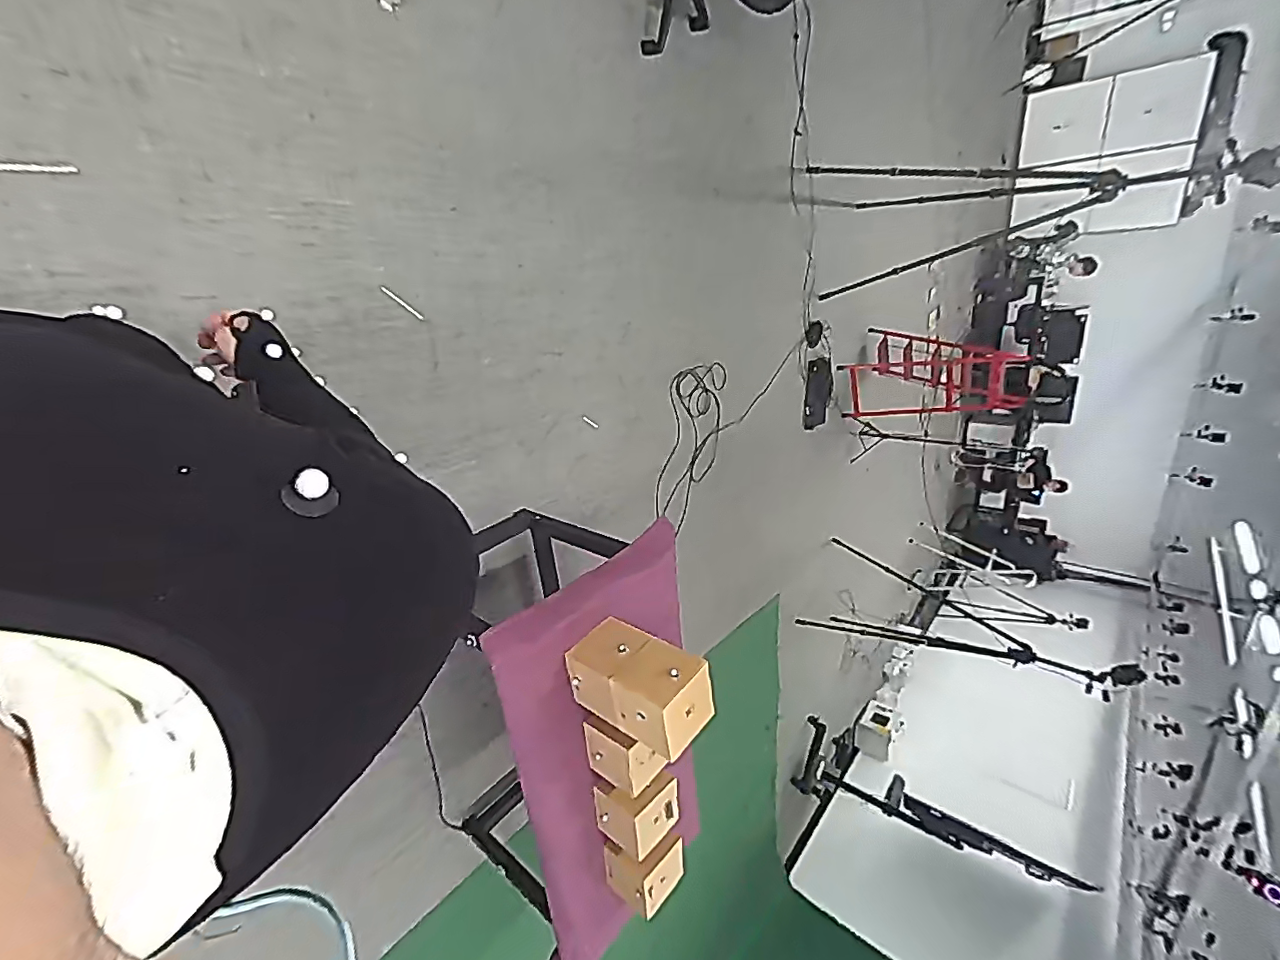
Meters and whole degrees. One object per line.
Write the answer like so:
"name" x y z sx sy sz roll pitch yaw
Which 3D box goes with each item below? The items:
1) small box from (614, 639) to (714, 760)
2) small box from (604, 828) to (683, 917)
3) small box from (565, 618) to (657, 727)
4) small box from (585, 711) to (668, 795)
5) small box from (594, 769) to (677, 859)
"small box" 0.053 0.514 1.289 0.179 0.176 0.168 -32 122 -41
"small box" 0.011 1.161 1.660 0.179 0.176 0.168 -24 117 -44
"small box" -0.065 0.486 1.396 0.179 0.176 0.168 -31 121 -40
"small box" -0.029 0.711 1.496 0.179 0.176 0.168 -25 117 -43
"small box" -0.011 0.933 1.574 0.179 0.176 0.168 -22 116 -43
